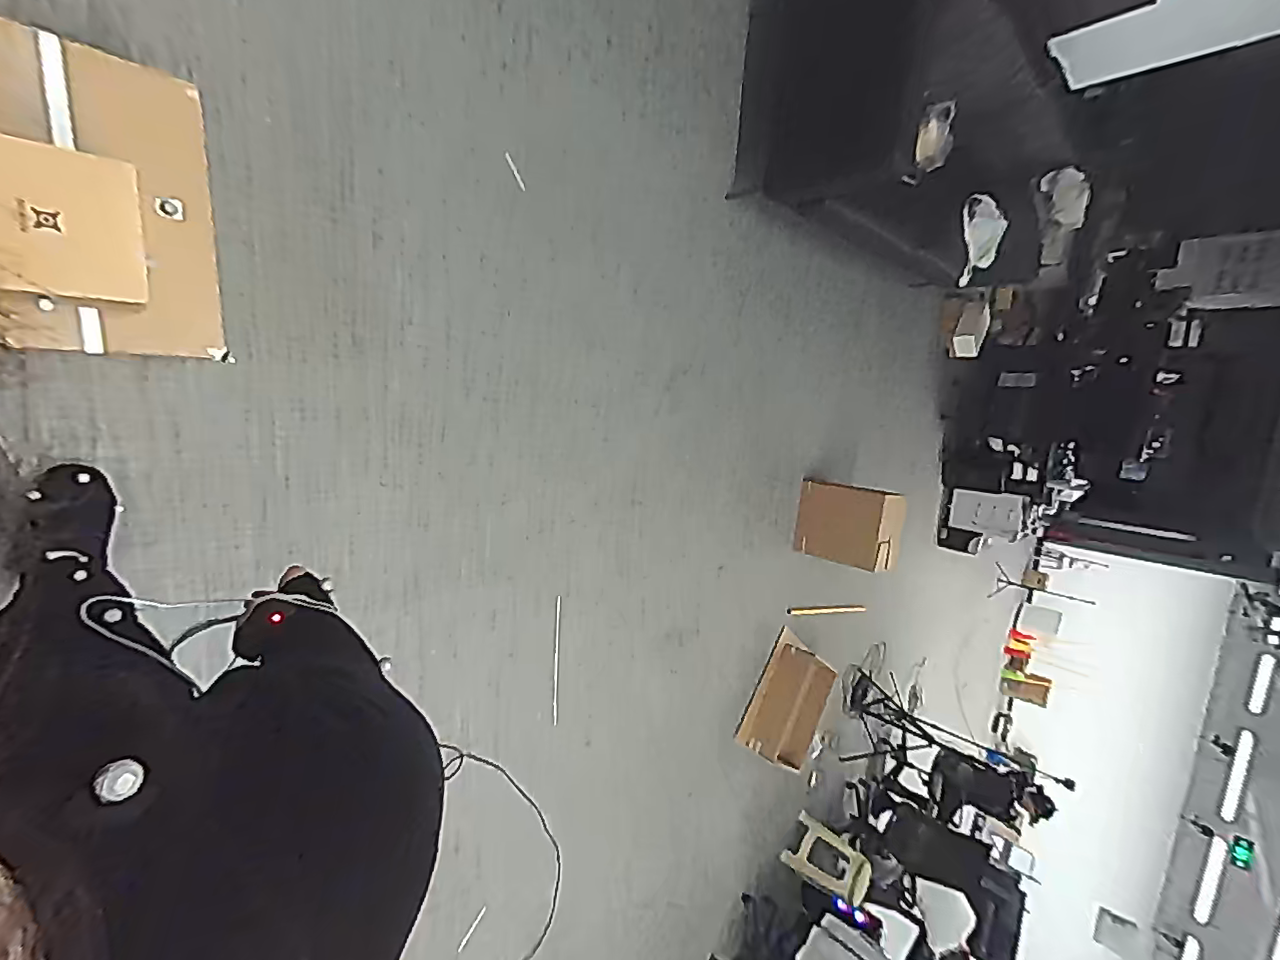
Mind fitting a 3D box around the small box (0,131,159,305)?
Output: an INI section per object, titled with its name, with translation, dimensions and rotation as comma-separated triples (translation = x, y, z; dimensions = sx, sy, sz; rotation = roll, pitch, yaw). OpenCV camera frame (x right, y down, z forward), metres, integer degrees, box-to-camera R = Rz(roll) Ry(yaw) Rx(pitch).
[small box]
translation = -0.731, -0.315, 0.676
dimensions = 0.179, 0.176, 0.168
rotation = -7, 104, -42
